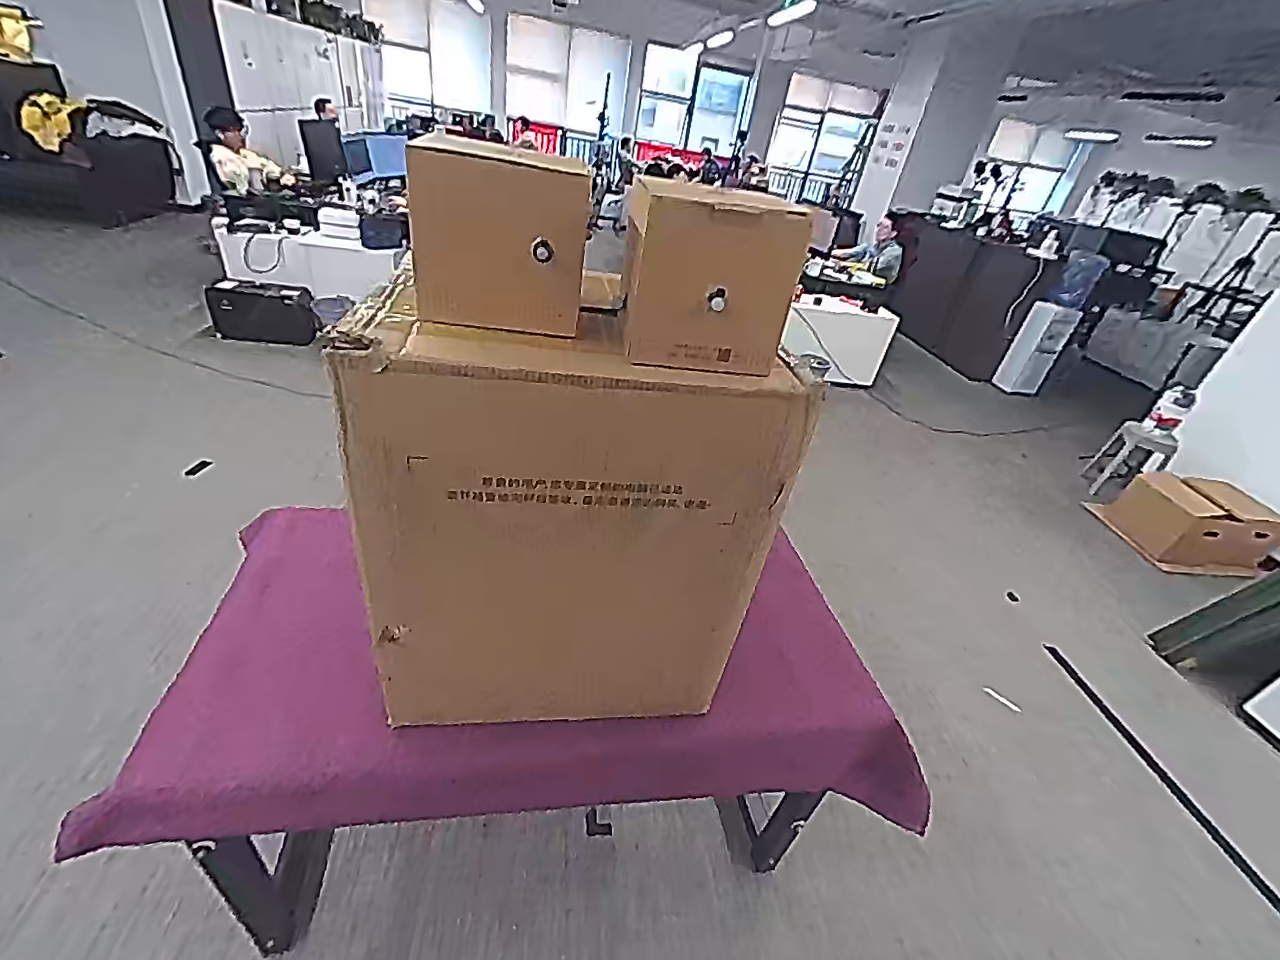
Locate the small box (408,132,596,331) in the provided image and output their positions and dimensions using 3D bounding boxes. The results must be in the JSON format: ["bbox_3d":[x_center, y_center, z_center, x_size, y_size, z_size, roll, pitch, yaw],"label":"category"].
[{"bbox_3d":[-0.151,-0.280,0.617,0.179,0.176,0.168,2,34,-12],"label":"small box"}]

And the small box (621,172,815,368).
[{"bbox_3d":[0.072,-0.239,0.619,0.168,0.176,0.179,3,34,-9],"label":"small box"}]
